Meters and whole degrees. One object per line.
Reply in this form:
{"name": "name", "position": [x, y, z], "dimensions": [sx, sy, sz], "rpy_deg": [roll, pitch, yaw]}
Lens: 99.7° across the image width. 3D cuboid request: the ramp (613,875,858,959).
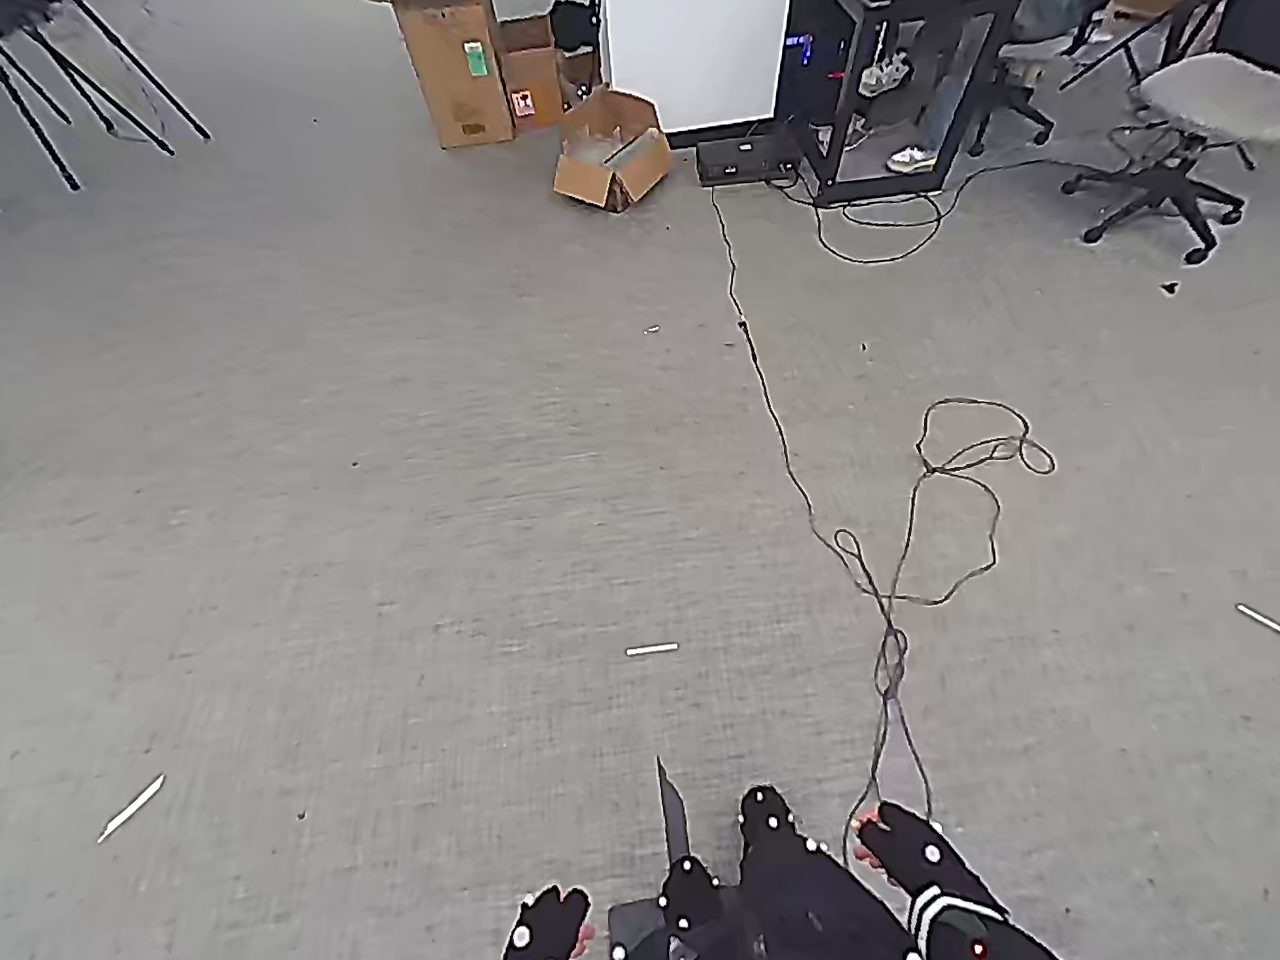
{"name": "ramp", "position": [0.241, 1.255, 0.834], "dimensions": [0.509, 0.206, 0.991], "rpy_deg": [-11, 57, -1]}
